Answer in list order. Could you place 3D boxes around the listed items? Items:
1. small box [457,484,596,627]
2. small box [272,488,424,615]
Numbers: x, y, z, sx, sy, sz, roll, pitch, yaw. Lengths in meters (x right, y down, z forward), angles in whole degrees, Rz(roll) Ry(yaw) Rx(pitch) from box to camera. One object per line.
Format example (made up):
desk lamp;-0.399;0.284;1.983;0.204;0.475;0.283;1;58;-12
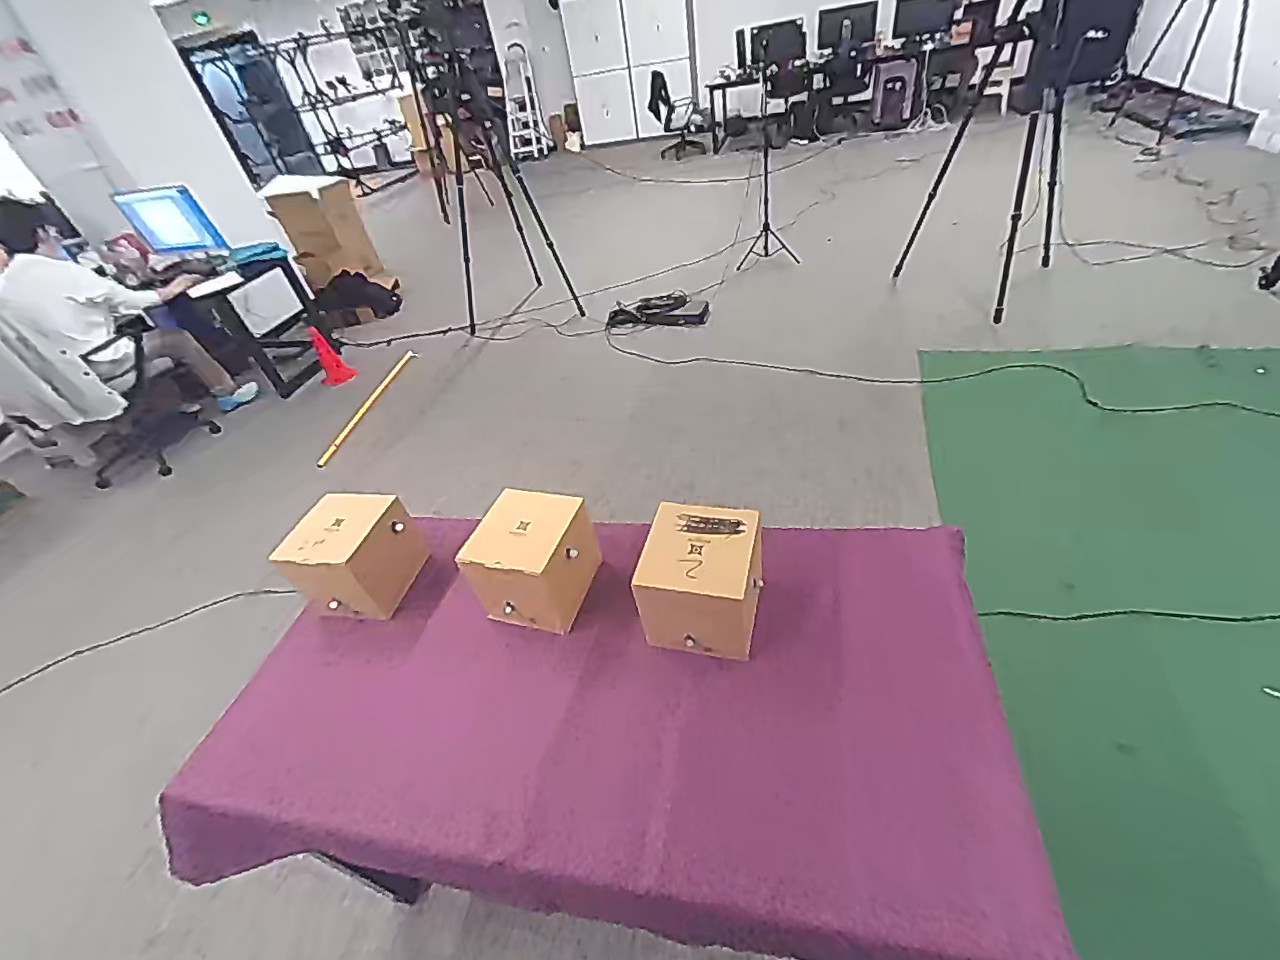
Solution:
small box;-0.190;0.133;0.974;0.168;0.176;0.179;6;45;20
small box;-0.550;0.137;1.053;0.168;0.176;0.179;1;43;15
